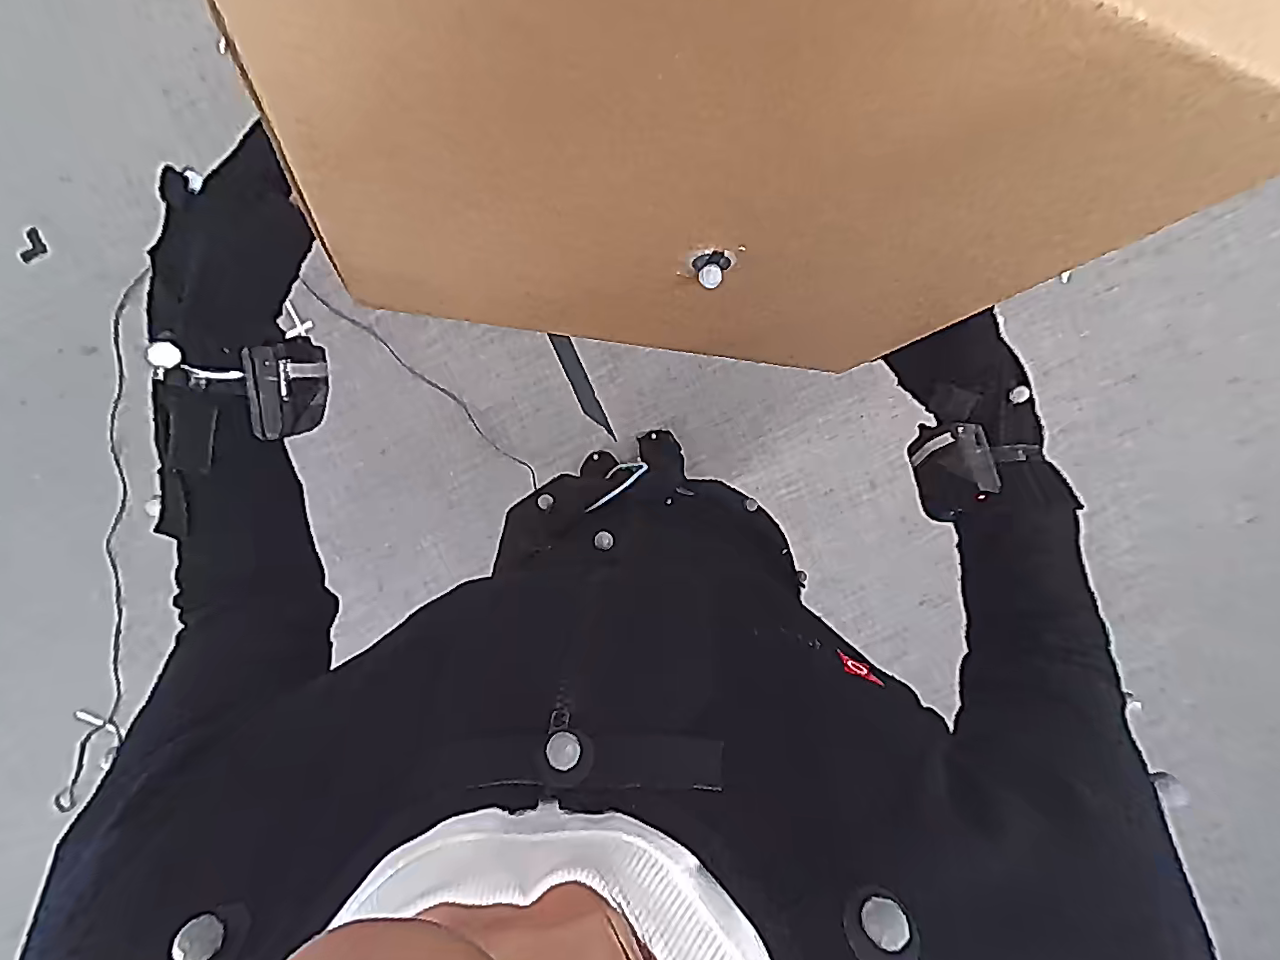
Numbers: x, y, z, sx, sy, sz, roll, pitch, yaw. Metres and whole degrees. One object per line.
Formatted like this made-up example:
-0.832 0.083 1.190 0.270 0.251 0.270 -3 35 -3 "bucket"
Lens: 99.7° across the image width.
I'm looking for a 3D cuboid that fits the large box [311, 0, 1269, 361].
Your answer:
0.053 -0.289 0.344 0.408 0.320 0.320 4 81 -18 "large box"
